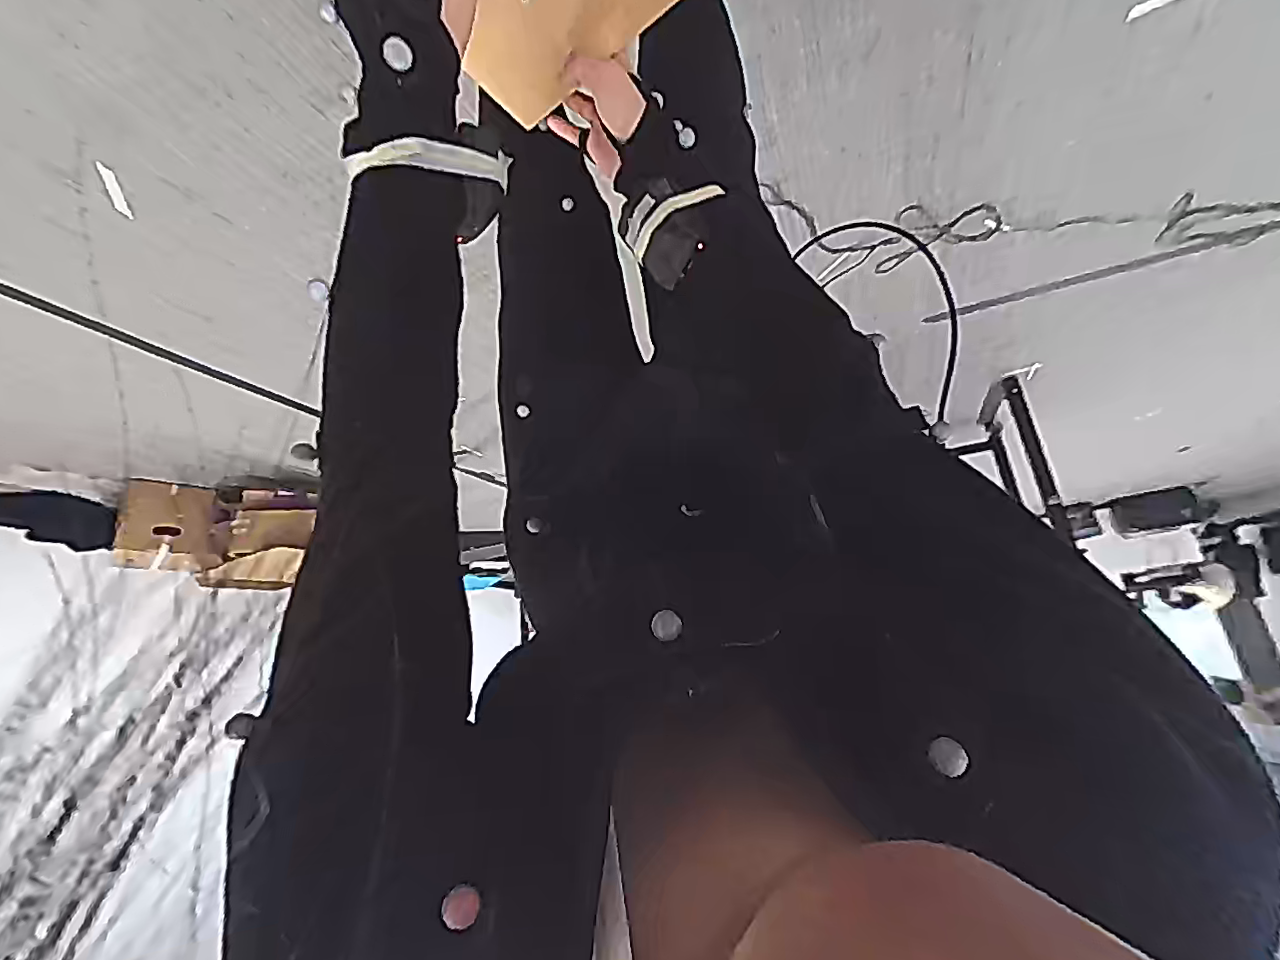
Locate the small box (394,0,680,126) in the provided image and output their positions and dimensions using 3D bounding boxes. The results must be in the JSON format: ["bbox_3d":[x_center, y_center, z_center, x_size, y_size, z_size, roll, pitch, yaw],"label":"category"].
[{"bbox_3d":[-0.086,-0.422,0.391,0.179,0.176,0.168,-20,159,30],"label":"small box"}]
